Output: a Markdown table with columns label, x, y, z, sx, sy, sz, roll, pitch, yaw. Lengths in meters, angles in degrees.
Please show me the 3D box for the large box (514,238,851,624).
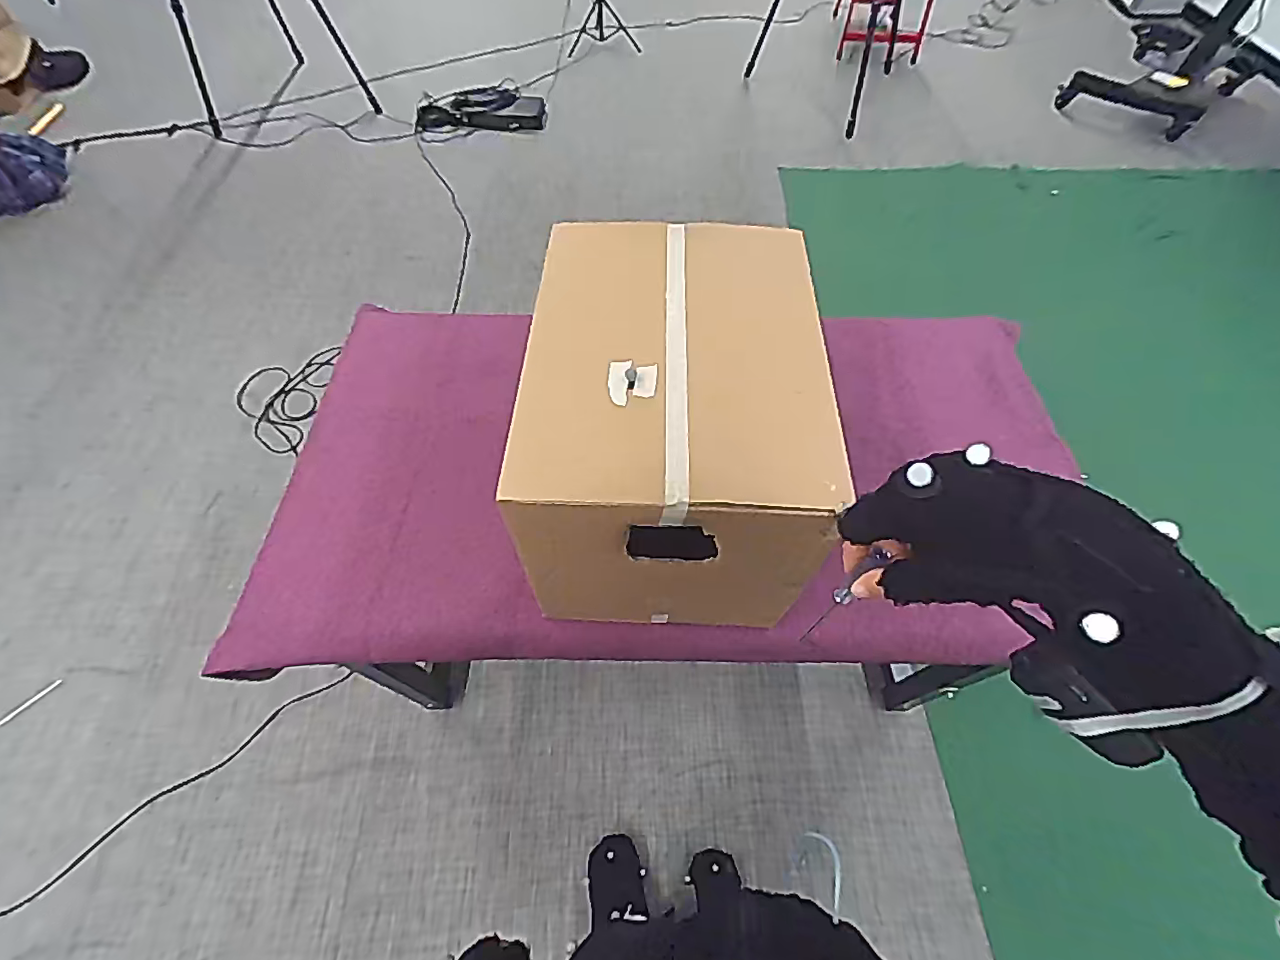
| label | x | y | z | sx | sy | sz | roll | pitch | yaw |
| --- | --- | --- | --- | --- | --- | --- | --- | --- | --- |
| large box | 0.039 | -0.056 | 0.714 | 0.320 | 0.320 | 0.408 | 2 | 58 | 1 |
